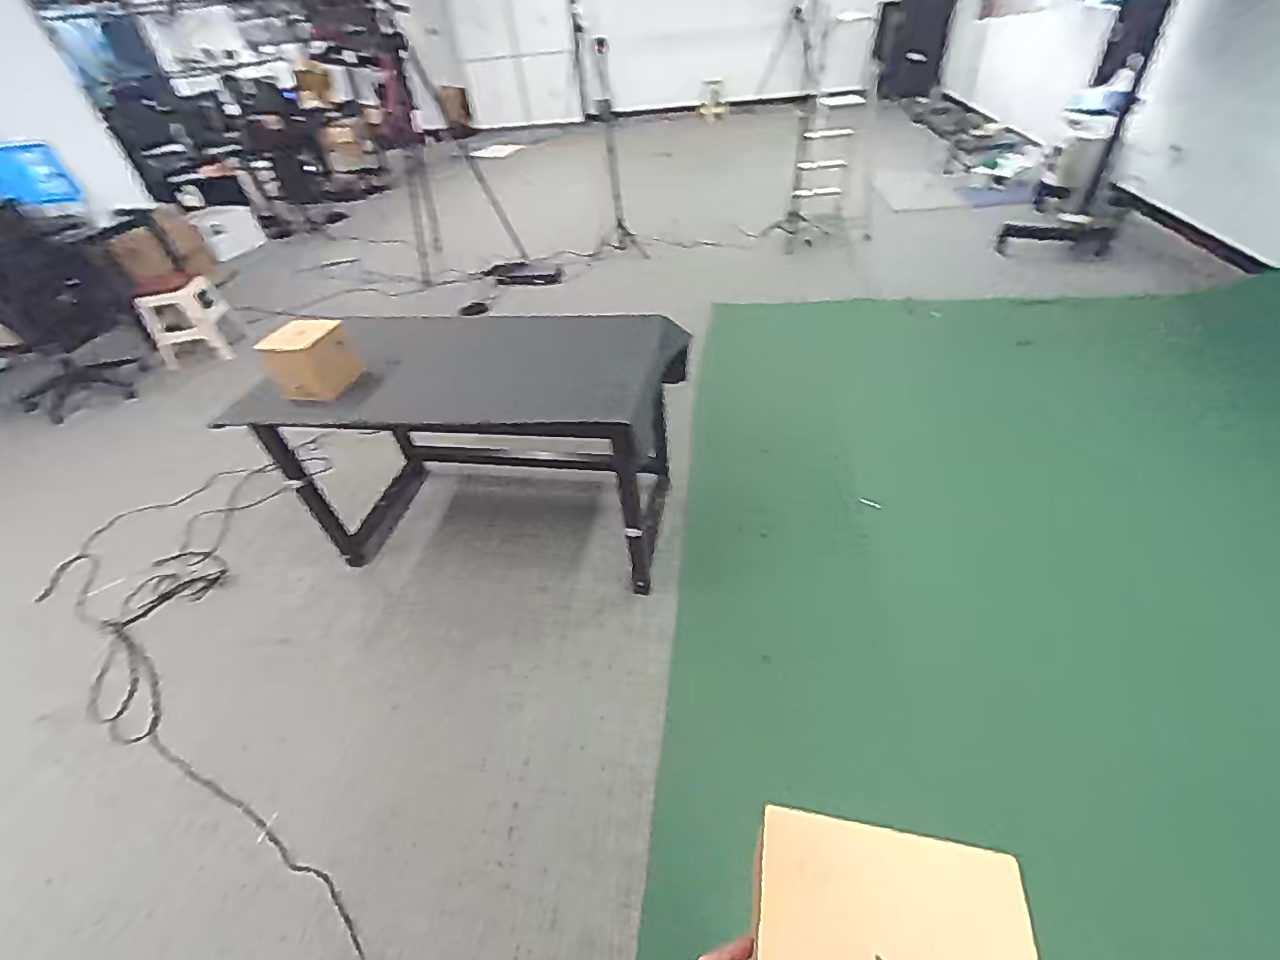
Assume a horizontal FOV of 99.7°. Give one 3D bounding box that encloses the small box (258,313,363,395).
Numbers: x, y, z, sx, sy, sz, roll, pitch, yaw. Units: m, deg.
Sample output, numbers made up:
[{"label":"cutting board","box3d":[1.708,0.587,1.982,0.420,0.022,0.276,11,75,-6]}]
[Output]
[{"label":"small box","box3d":[-0.937,-0.365,1.562,0.168,0.176,0.179,5,42,12]}]
